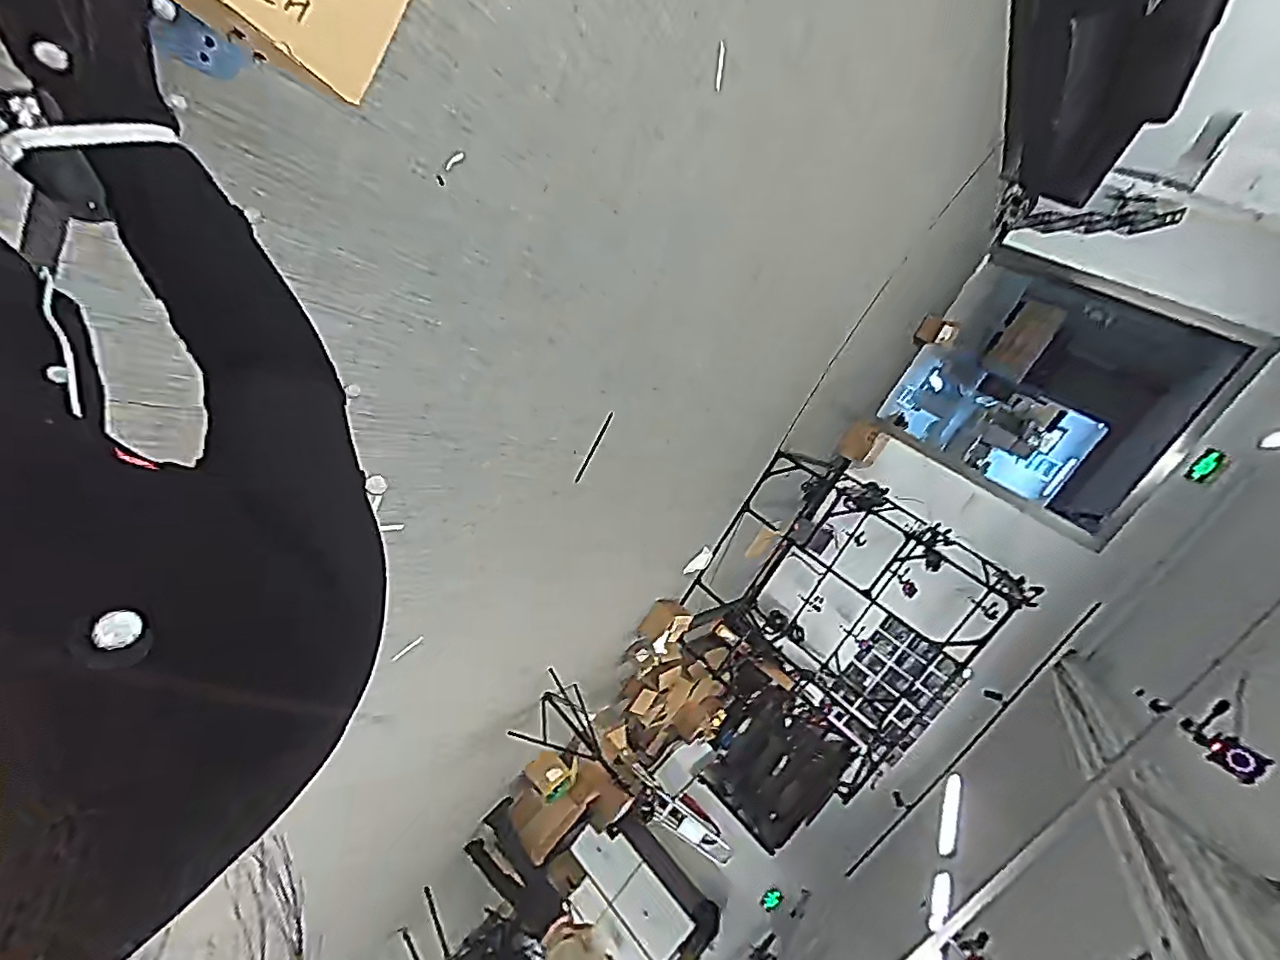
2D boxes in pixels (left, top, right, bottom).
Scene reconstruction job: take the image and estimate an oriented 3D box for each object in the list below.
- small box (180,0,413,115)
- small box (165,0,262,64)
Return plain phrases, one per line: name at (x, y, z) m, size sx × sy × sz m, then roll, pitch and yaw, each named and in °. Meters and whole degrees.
small box at (-0.378, -0.546, 0.577) m, size 0.179 × 0.176 × 0.168 m, roll -57°, pitch 153°, yaw 9°
small box at (-0.497, -0.633, 0.652) m, size 0.168 × 0.176 × 0.179 m, roll -58°, pitch 153°, yaw 10°
